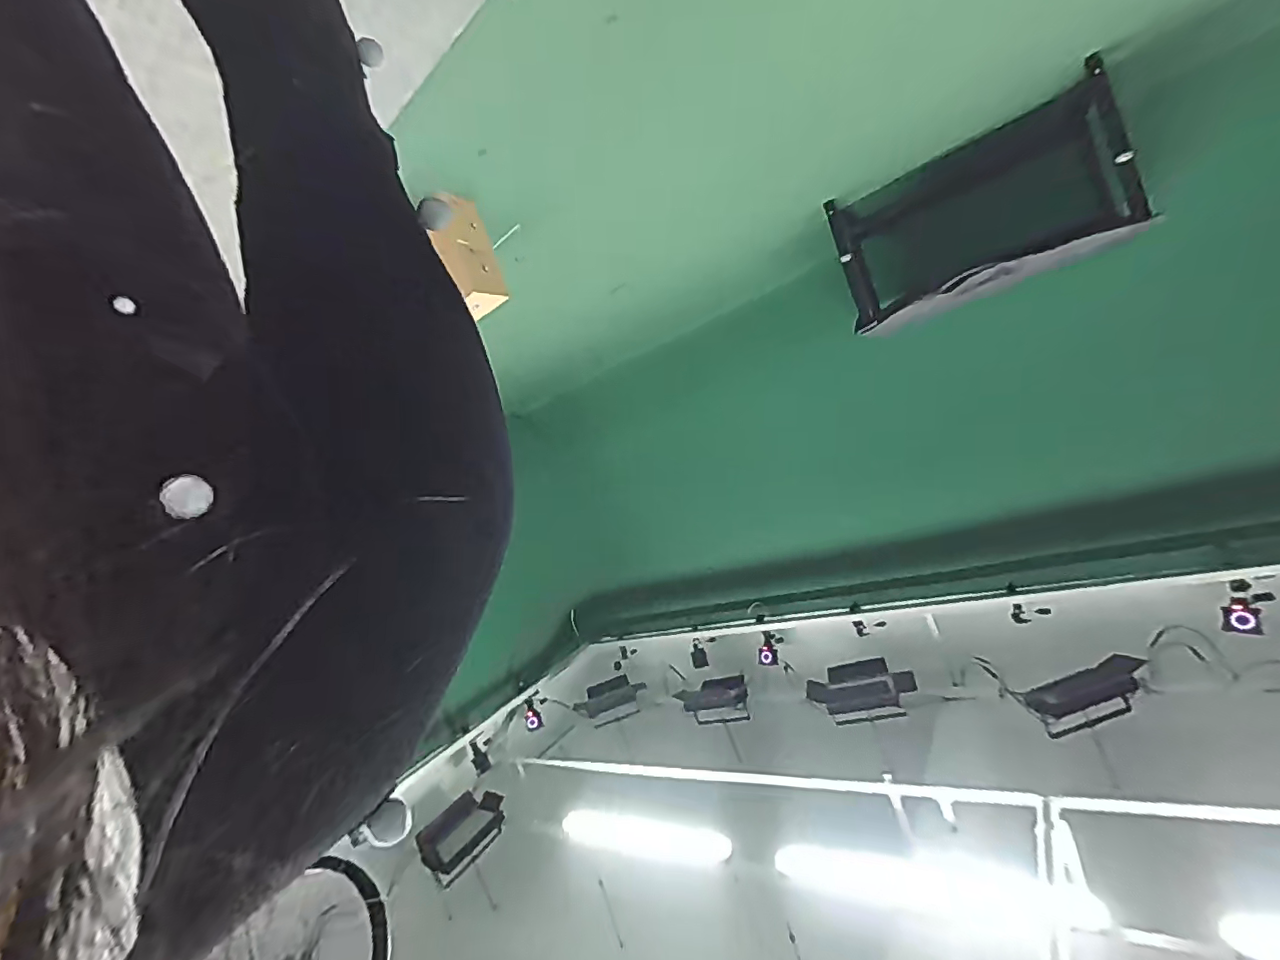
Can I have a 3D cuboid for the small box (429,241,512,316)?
[{"bbox_3d":[-0.558,-0.653,1.764,0.179,0.176,0.168,-18,-178,32],"label":"small box"}]
